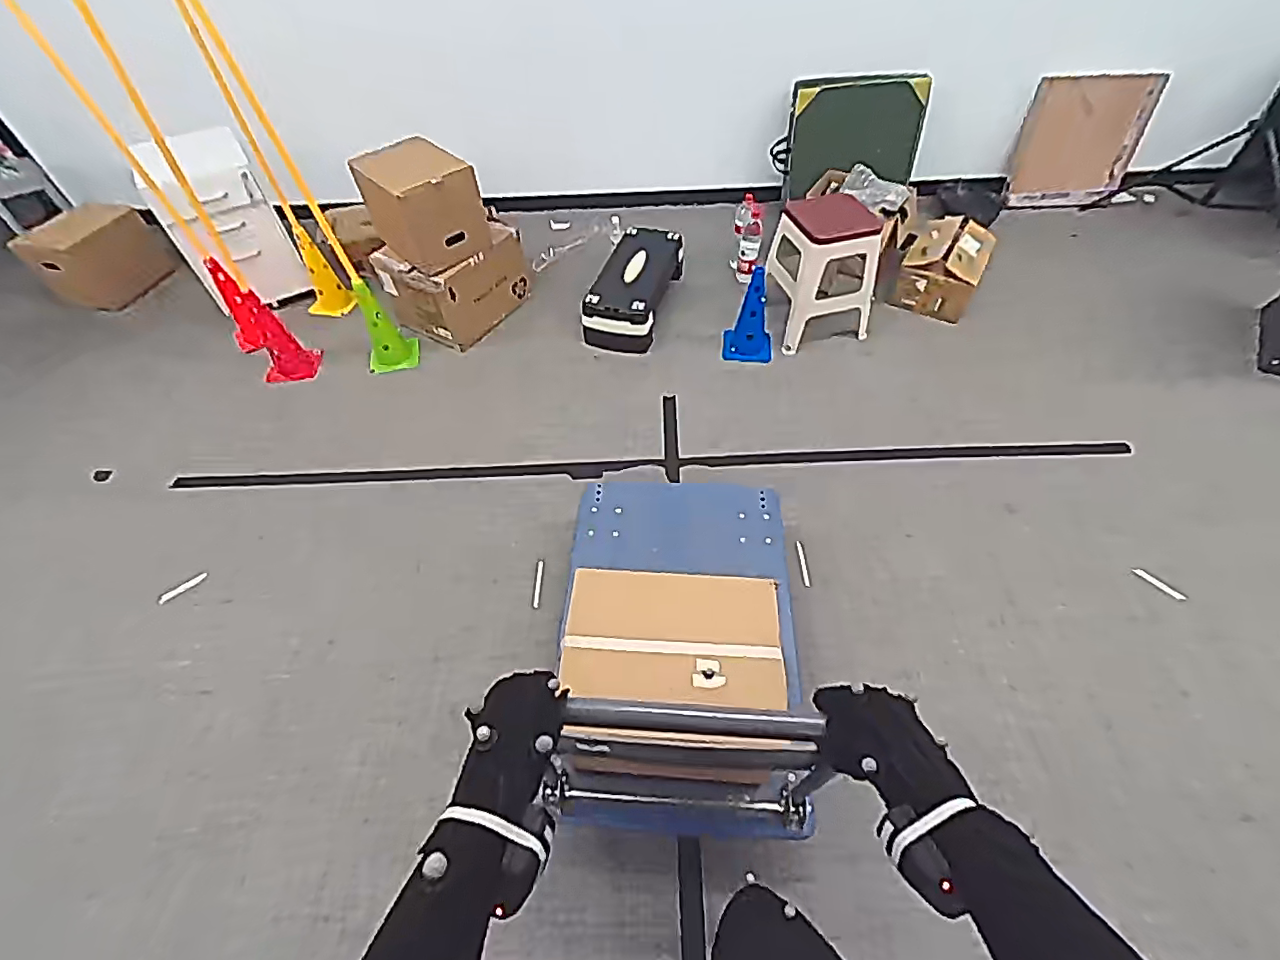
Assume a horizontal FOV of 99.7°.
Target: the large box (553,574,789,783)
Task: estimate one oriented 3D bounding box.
[{"bbox_3d":[0.057,0.411,1.107,0.408,0.320,0.320,3,52,2],"label":"large box"}]
